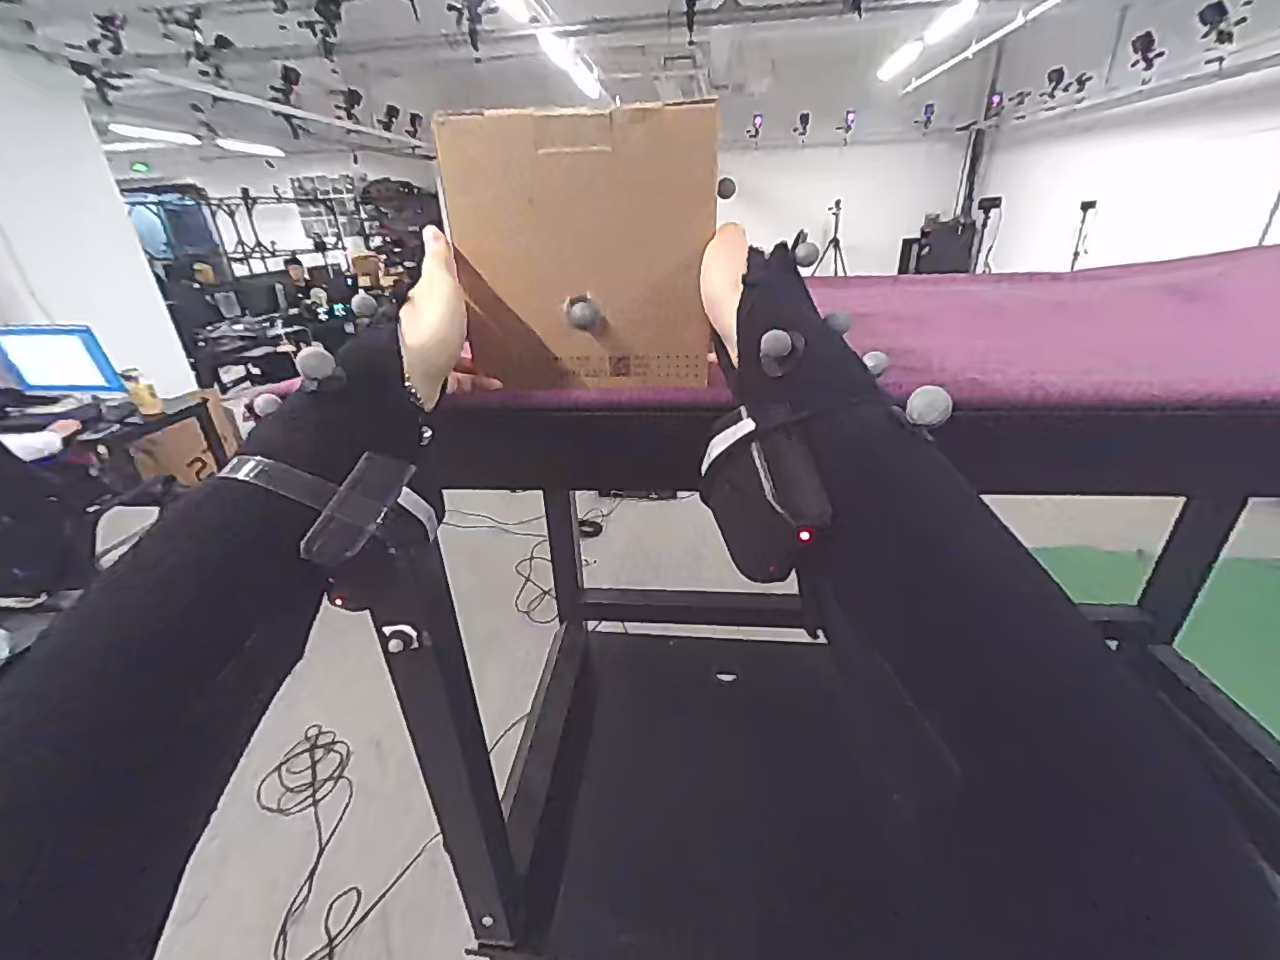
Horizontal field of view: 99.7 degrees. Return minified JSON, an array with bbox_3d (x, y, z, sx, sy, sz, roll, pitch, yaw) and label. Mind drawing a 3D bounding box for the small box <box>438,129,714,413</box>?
[{"bbox_3d":[-0.030,-0.160,0.418,0.168,0.176,0.179,1,28,6],"label":"small box"}]
